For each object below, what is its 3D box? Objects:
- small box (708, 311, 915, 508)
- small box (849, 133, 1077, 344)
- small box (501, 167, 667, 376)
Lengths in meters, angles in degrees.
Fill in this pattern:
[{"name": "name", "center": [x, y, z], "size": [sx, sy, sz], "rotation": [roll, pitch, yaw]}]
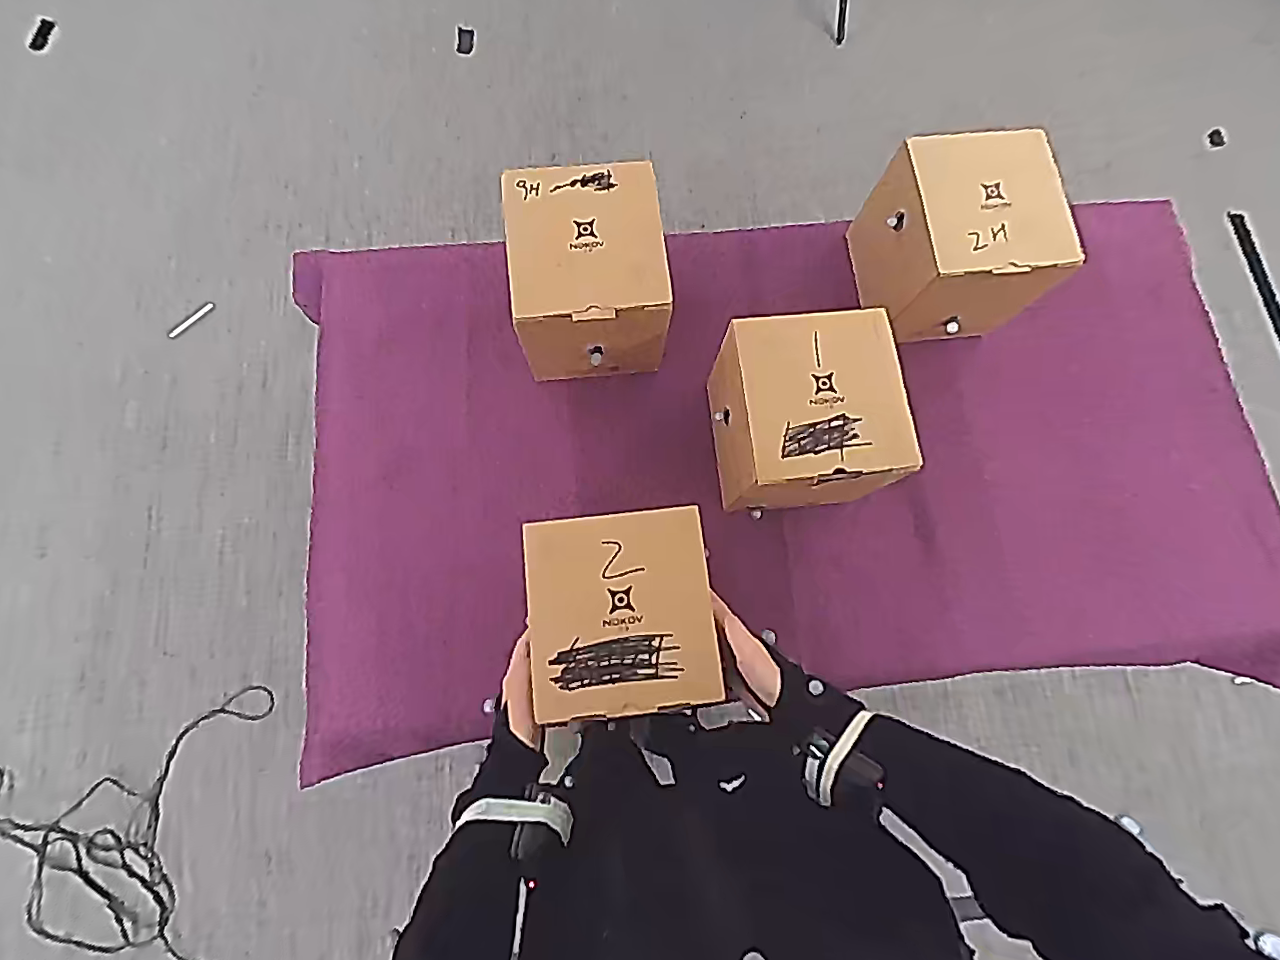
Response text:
[{"name": "small box", "center": [0.178, -0.068, 0.618], "size": [0.168, 0.176, 0.179], "rotation": [-5, 76, -3]}, {"name": "small box", "center": [0.381, -0.290, 0.676], "size": [0.168, 0.176, 0.179], "rotation": [-6, 78, -3]}, {"name": "small box", "center": [-0.062, -0.233, 0.646], "size": [0.168, 0.176, 0.179], "rotation": [-6, 79, -4]}]
